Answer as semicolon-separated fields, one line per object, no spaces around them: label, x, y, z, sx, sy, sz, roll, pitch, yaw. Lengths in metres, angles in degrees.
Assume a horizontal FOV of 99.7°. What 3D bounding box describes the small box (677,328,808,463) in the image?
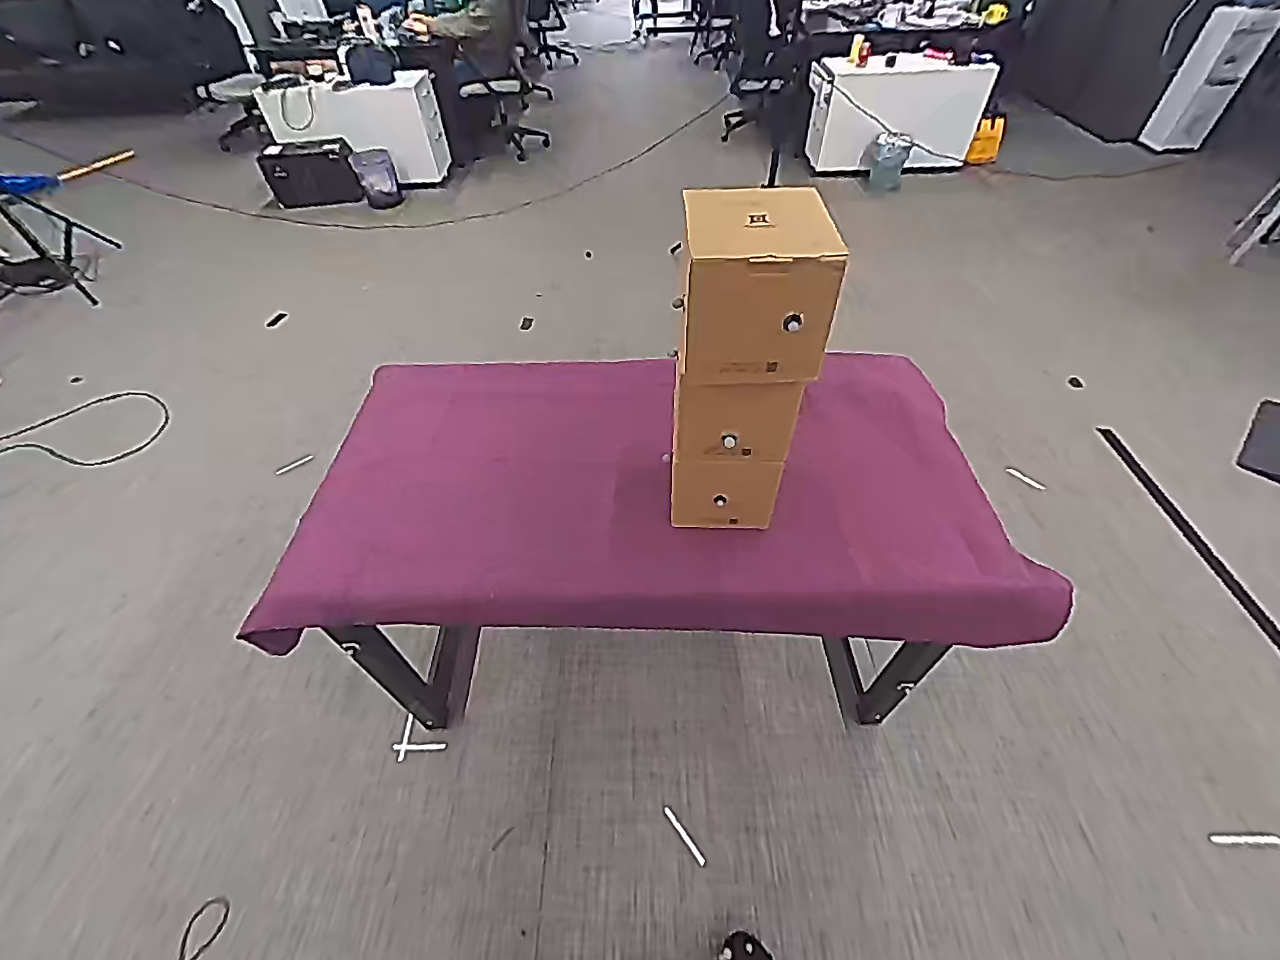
small box;0.140;-0.146;0.805;0.168;0.176;0.179;1;49;3

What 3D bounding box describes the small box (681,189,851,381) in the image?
small box;0.138;-0.236;0.668;0.168;0.176;0.179;-1;48;0

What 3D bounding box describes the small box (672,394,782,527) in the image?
small box;0.141;-0.035;0.926;0.168;0.176;0.179;2;48;3
